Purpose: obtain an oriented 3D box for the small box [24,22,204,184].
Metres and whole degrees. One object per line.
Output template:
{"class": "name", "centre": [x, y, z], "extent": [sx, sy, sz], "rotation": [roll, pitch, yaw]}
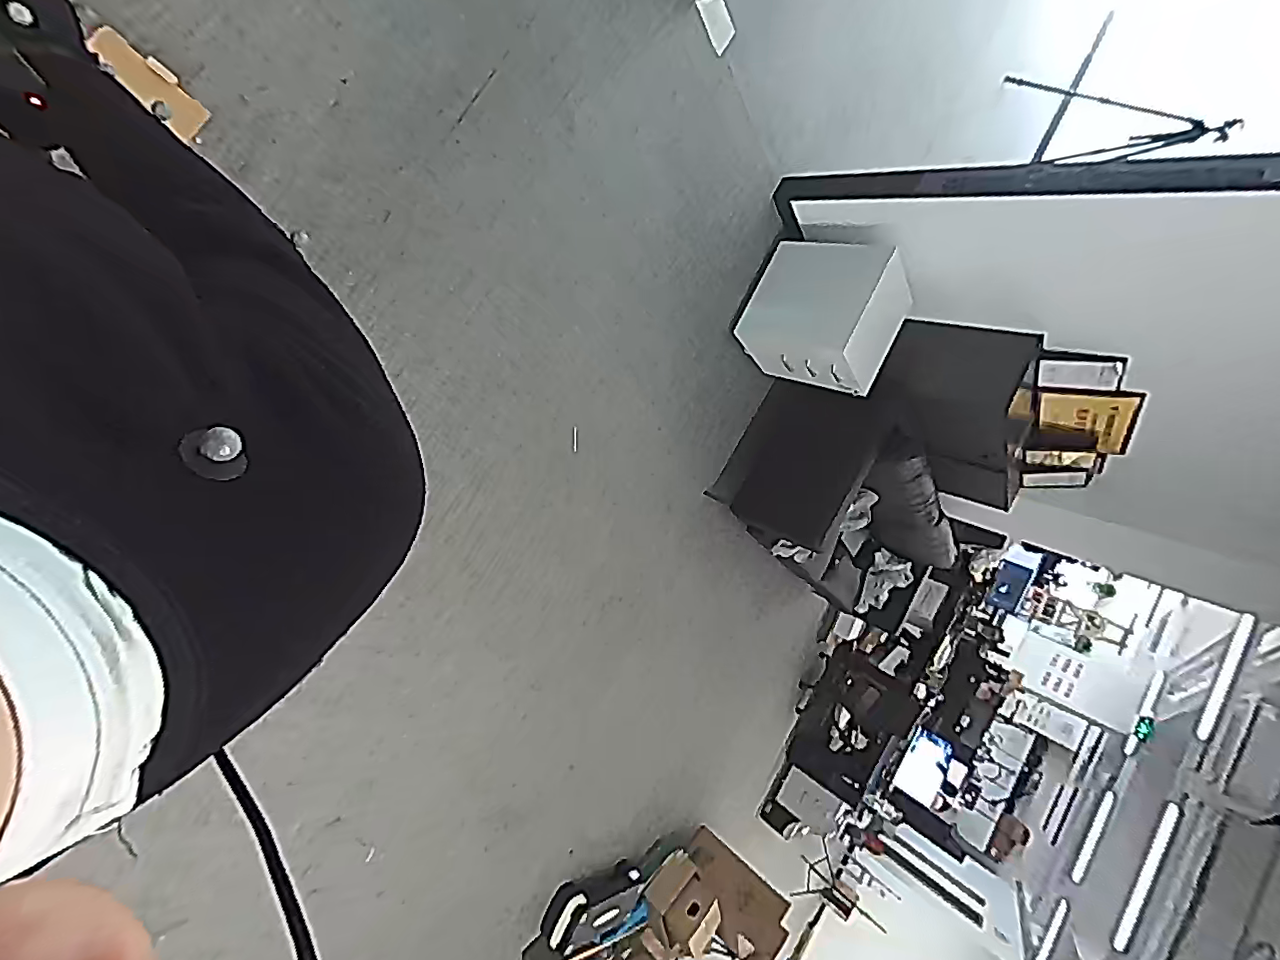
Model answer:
{"class": "small box", "centre": [-0.948, -0.669, 0.979], "extent": [0.179, 0.176, 0.168], "rotation": [-57, 138, -10]}
